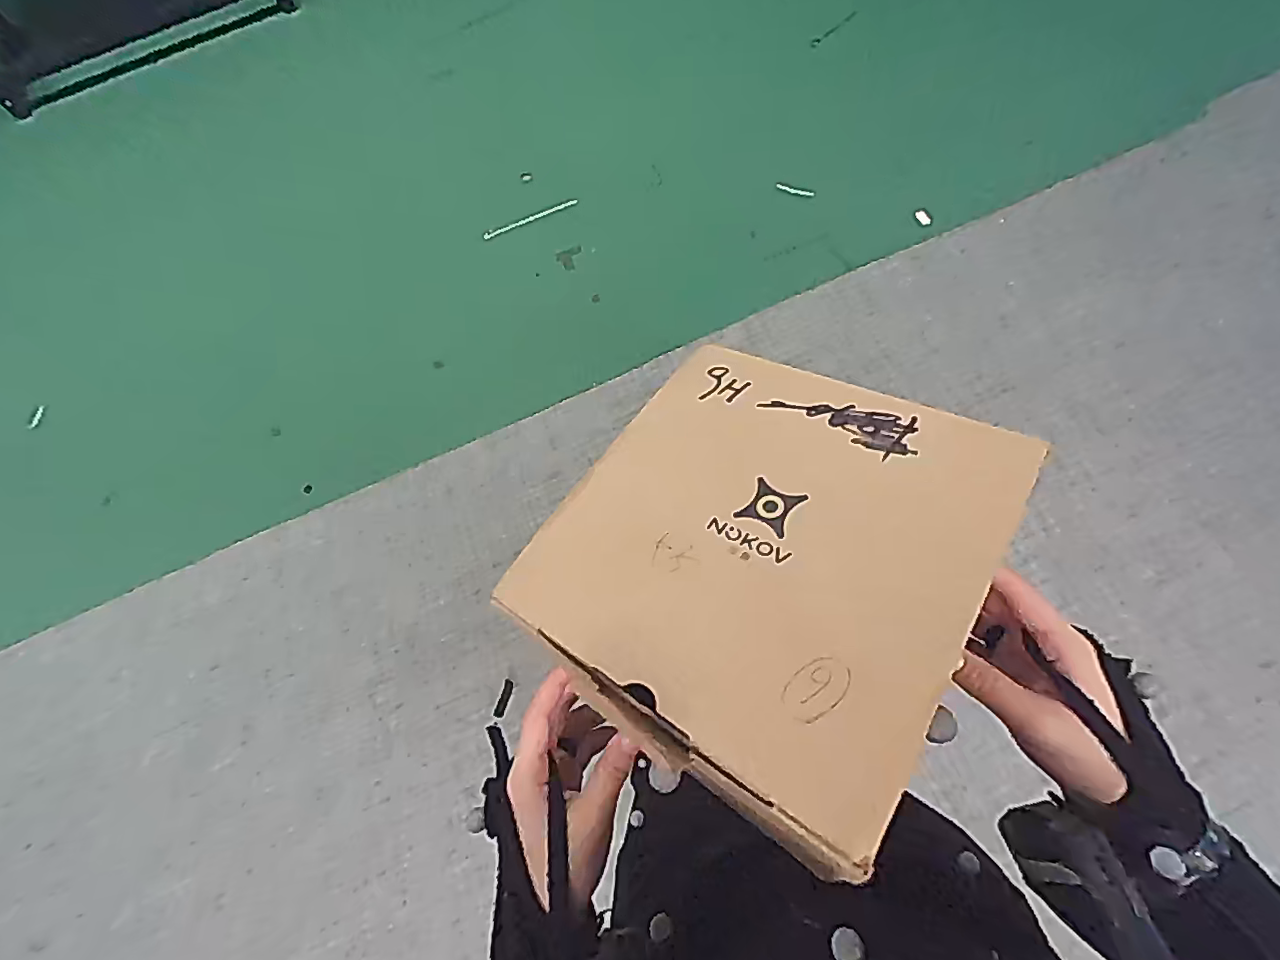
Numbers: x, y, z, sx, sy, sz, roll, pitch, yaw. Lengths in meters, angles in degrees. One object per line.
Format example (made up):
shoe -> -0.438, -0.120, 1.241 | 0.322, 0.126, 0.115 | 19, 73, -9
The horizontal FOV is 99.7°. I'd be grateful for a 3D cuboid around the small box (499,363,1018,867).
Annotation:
small box -> 0.065, 0.072, 0.296 | 0.168, 0.176, 0.179 | 25, 65, 29
